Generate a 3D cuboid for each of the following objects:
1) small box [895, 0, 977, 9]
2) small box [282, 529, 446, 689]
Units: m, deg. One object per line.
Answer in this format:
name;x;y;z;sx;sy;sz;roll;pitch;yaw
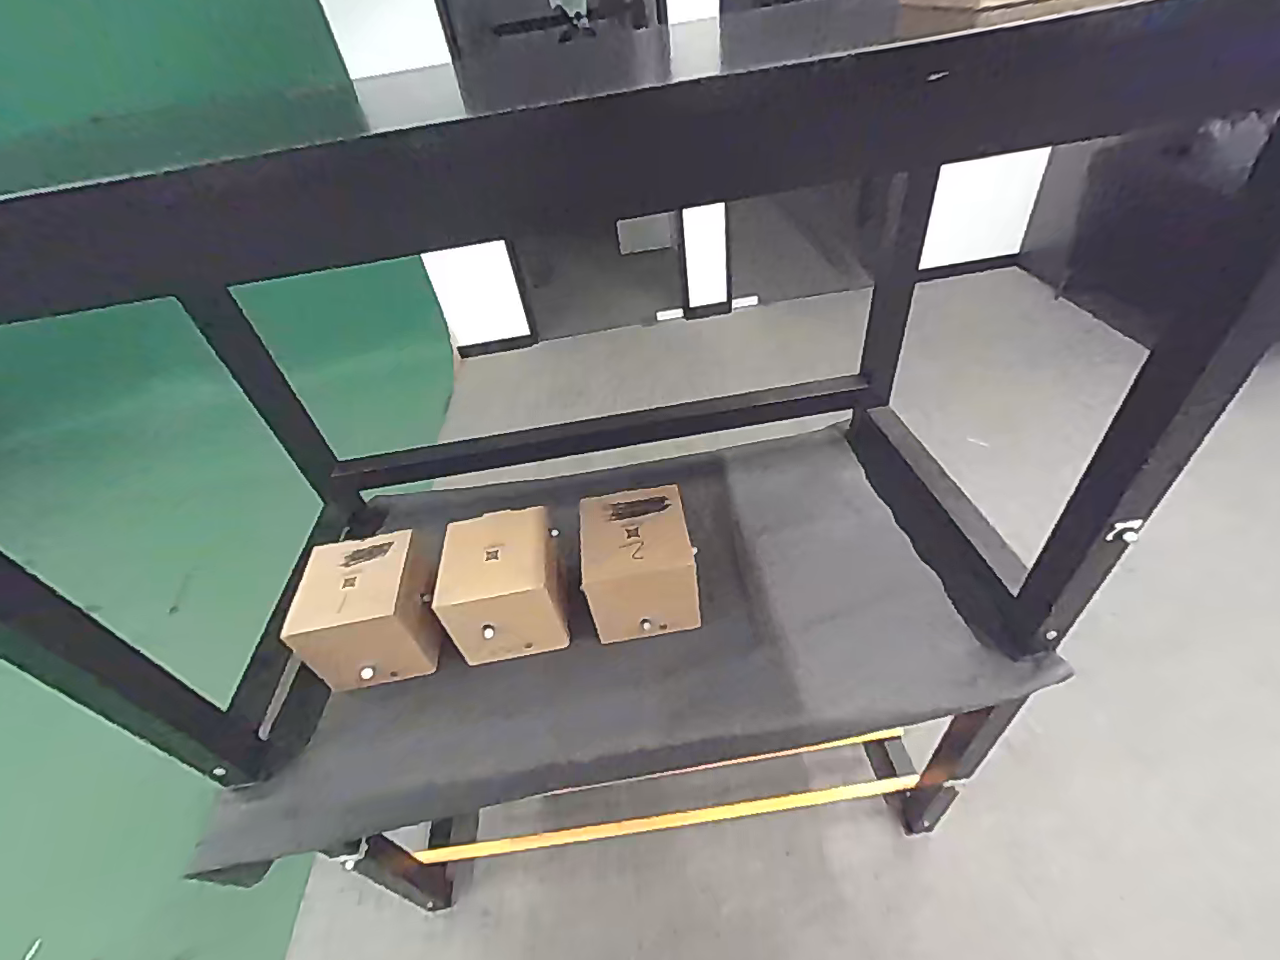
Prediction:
small box;0.271;-0.411;0.328;0.168;0.176;0.179;-3;41;8
small box;-0.433;0.210;0.886;0.168;0.176;0.179;-11;41;-1
